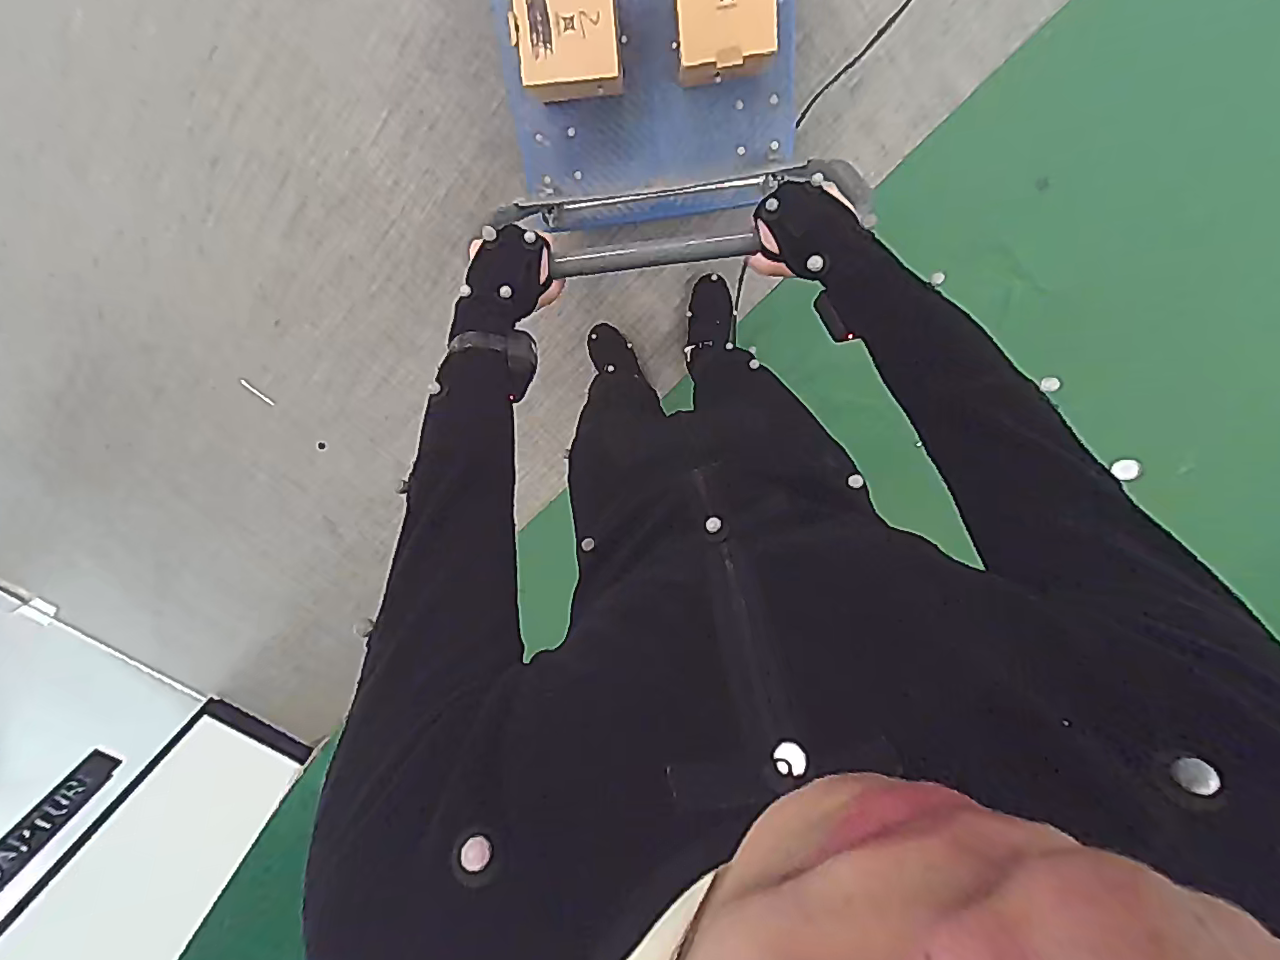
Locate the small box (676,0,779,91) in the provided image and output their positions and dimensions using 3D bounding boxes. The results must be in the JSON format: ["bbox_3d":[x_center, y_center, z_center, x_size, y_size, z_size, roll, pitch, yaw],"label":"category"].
[{"bbox_3d":[0.152,-0.831,0.973,0.168,0.176,0.179,-5,117,6],"label":"small box"}]
